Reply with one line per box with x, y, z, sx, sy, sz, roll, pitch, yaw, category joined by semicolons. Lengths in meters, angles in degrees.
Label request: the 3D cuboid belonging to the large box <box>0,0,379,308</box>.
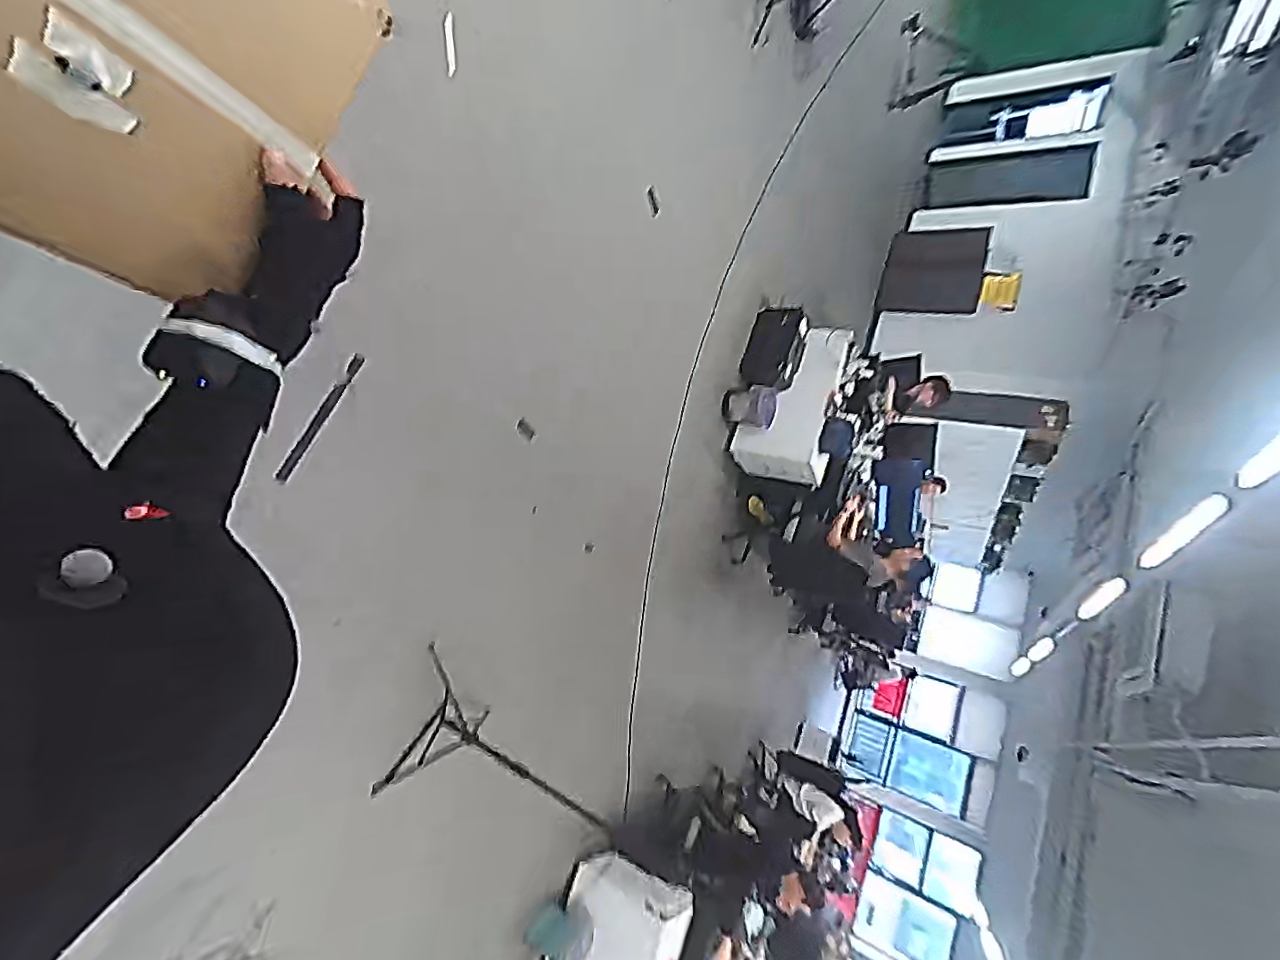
-0.504;-0.385;0.388;0.408;0.320;0.320;28;88;-59;large box
